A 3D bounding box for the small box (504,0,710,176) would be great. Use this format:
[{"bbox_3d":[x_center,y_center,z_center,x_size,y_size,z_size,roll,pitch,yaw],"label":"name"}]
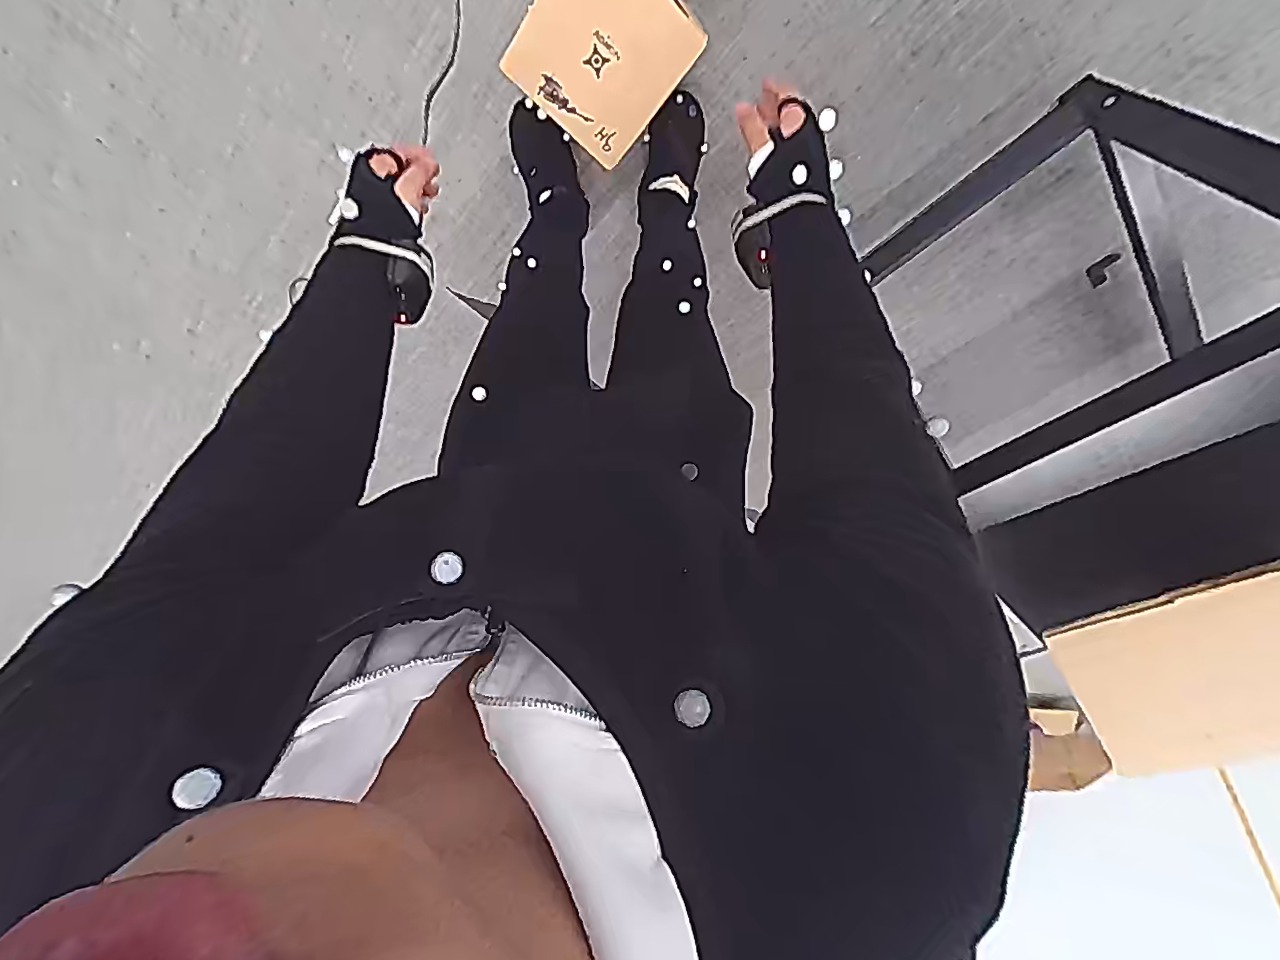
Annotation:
[{"bbox_3d":[-0.040,-0.523,0.658,0.168,0.176,0.179,32,126,-28],"label":"small box"}]
